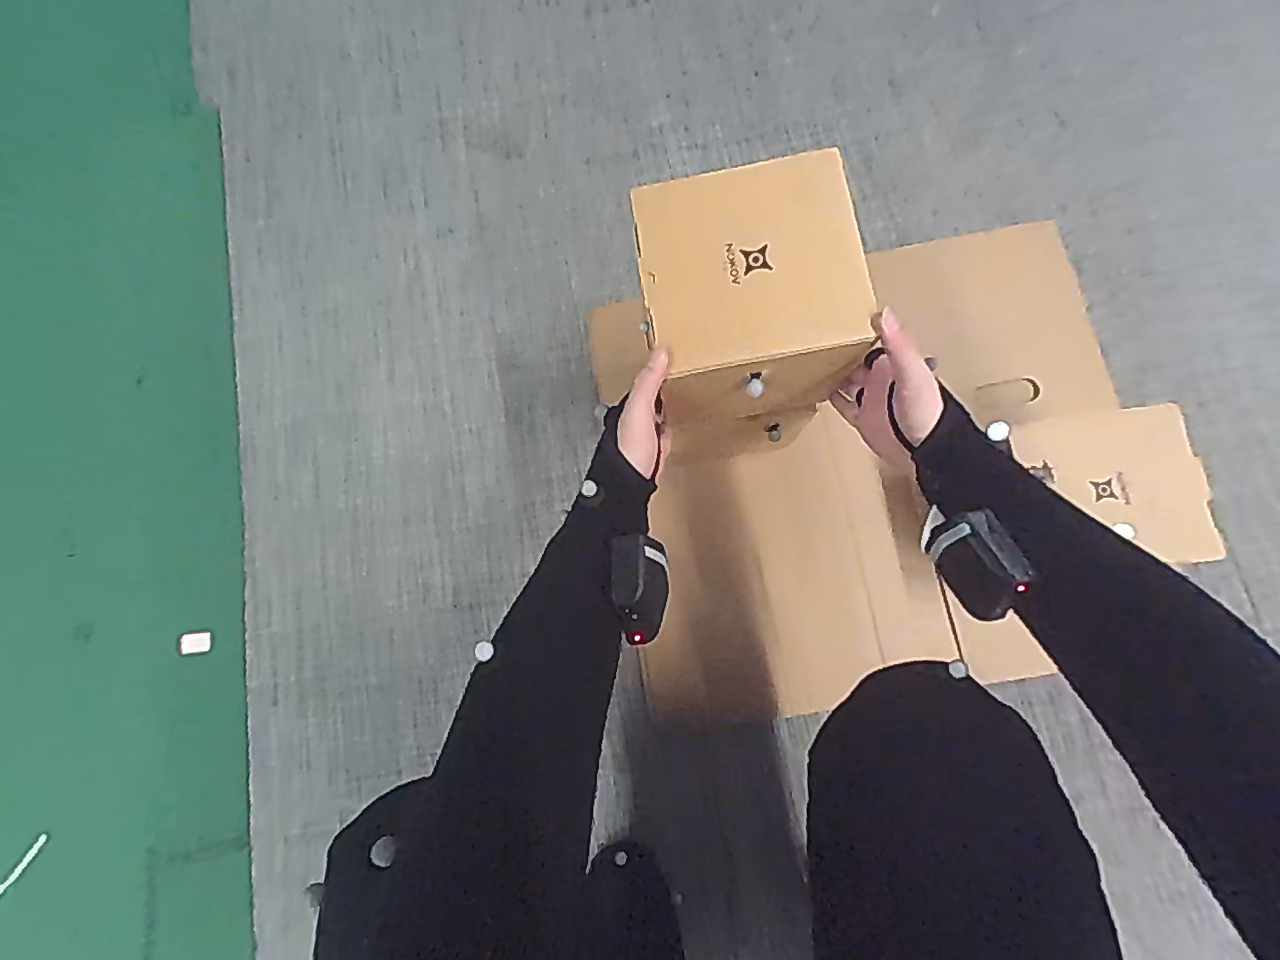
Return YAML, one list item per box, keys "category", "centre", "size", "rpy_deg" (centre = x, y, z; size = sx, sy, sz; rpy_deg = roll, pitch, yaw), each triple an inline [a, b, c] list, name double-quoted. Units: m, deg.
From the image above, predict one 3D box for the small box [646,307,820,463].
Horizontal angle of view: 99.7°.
- category: "small box"
  centre: [0.107, -0.125, 0.684]
  size: [0.179, 0.176, 0.168]
  rpy_deg: [-9, 80, 3]

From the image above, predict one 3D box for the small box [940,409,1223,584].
- category: "small box"
  centre: [0.489, 0.027, 0.631]
  size: [0.179, 0.176, 0.168]
  rpy_deg: [-8, 79, 4]

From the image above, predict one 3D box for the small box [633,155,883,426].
- category: "small box"
  centre: [0.097, -0.158, 0.506]
  size: [0.179, 0.176, 0.168]
  rpy_deg: [-10, 81, 5]
